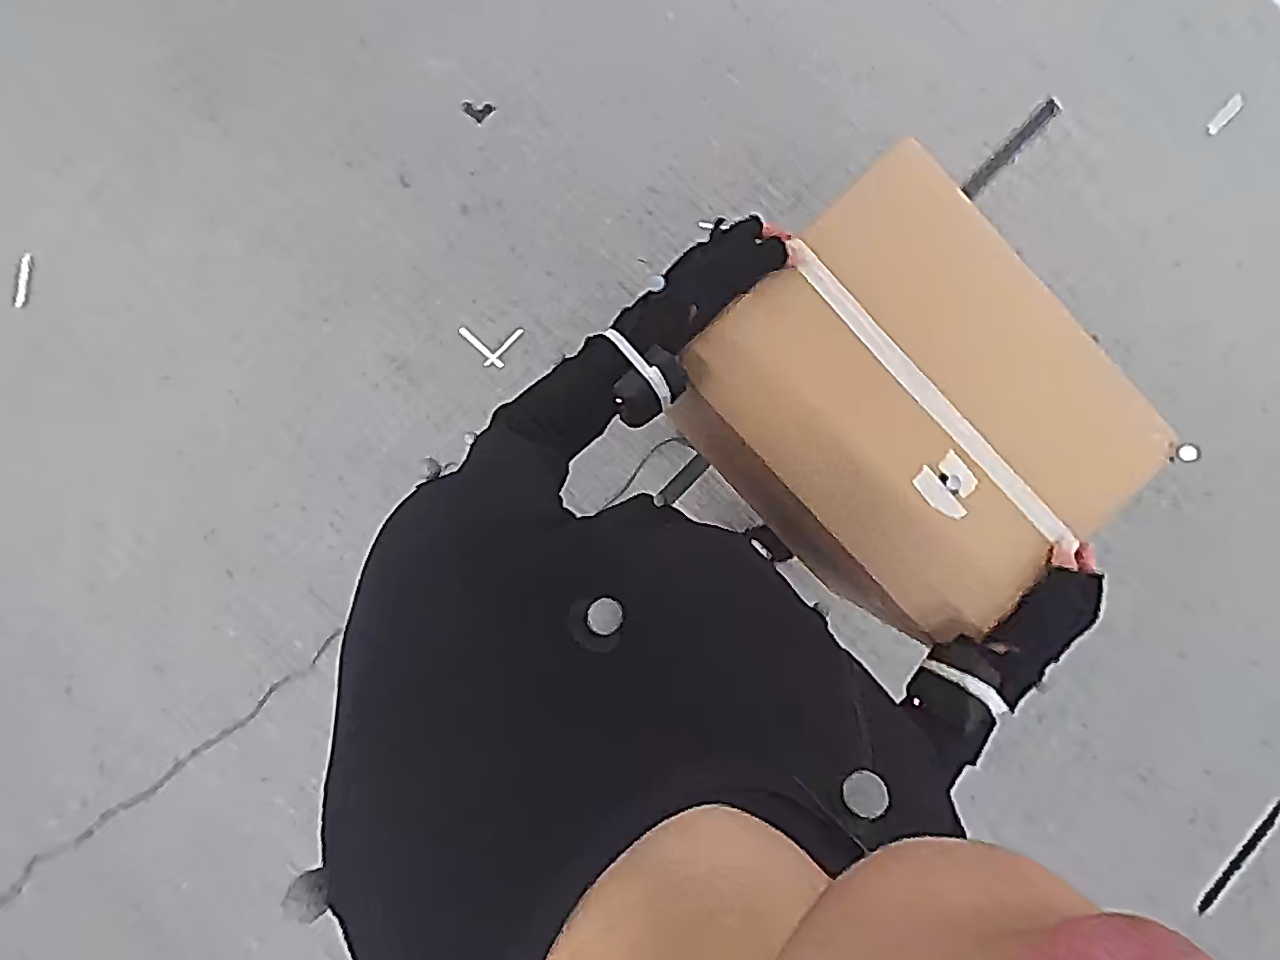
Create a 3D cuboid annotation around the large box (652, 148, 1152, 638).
[{"bbox_3d":[0.268,-0.088,0.683,0.320,0.320,0.408,-44,94,0],"label":"large box"}]
